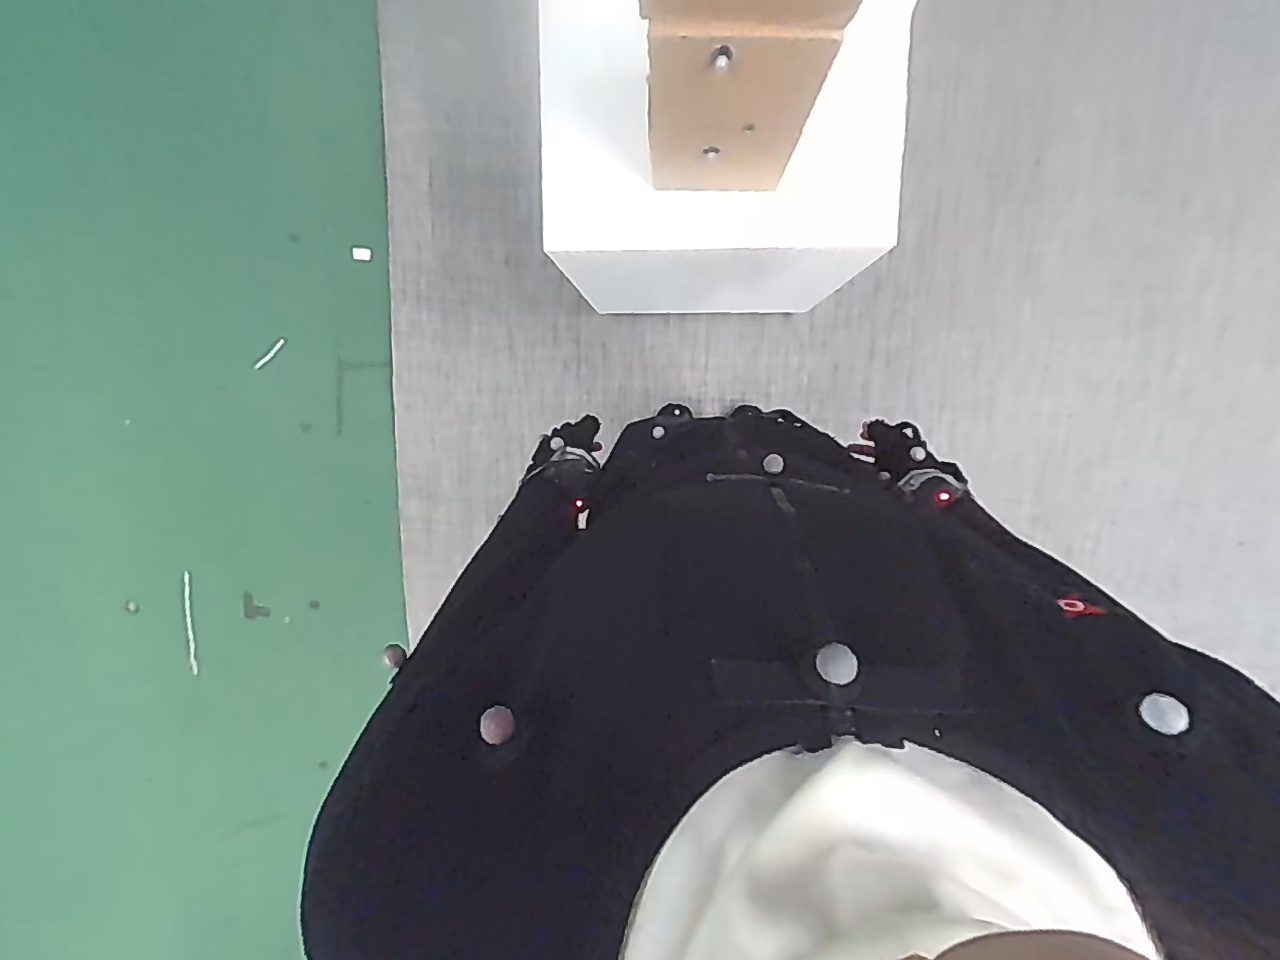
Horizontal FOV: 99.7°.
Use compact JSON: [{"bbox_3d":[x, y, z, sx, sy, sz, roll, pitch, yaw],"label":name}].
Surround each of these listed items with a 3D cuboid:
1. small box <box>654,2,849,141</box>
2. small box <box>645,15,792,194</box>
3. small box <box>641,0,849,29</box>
[{"bbox_3d":[0.098,-0.465,0.527,0.168,0.176,0.179,1,98,2],"label":"small box"},{"bbox_3d":[0.101,-0.482,0.687,0.179,0.176,0.168,3,97,3],"label":"small box"},{"bbox_3d":[0.085,-0.449,0.364,0.179,0.176,0.168,5,100,3],"label":"small box"}]
